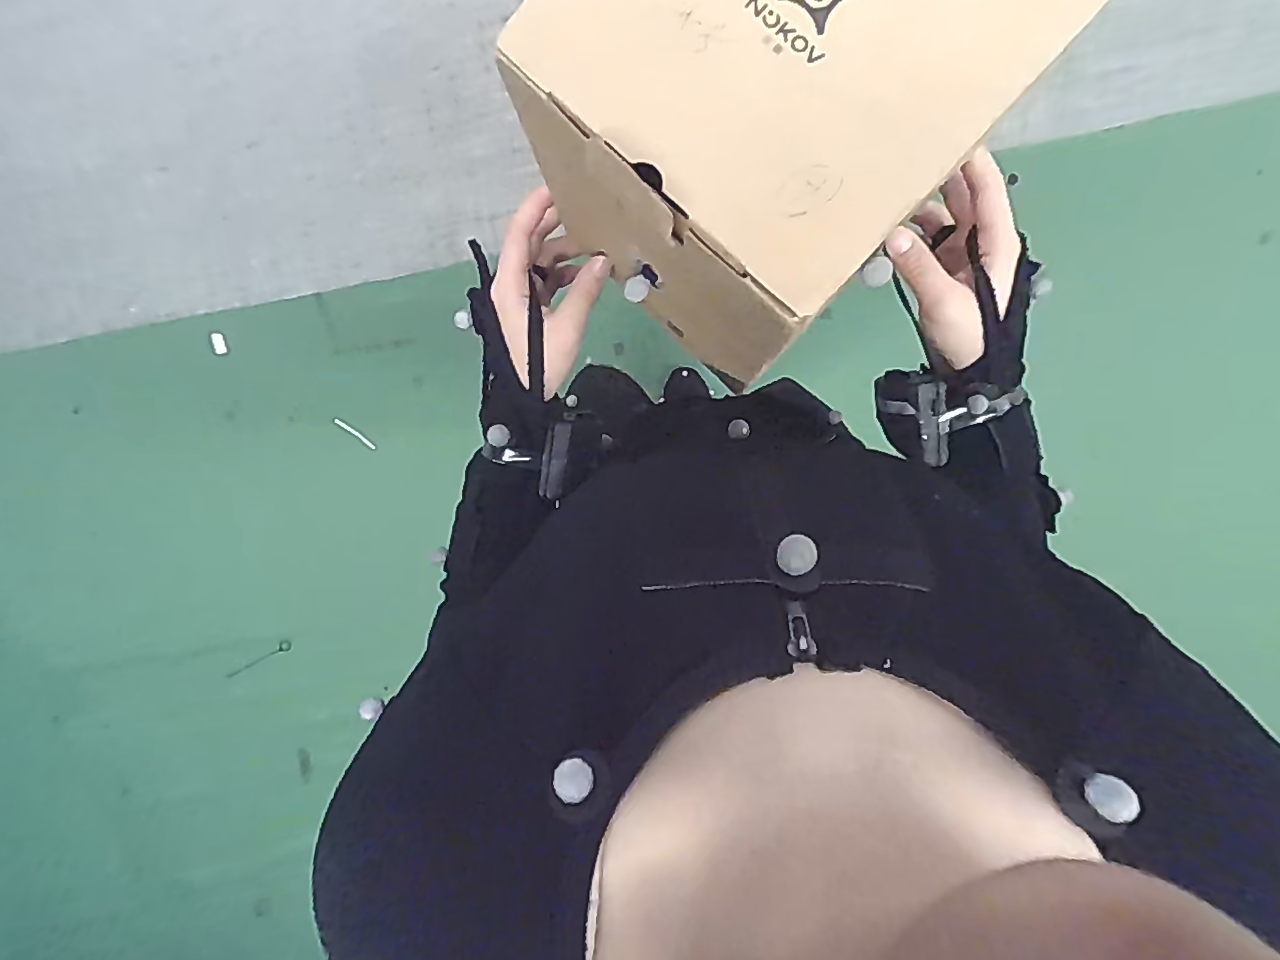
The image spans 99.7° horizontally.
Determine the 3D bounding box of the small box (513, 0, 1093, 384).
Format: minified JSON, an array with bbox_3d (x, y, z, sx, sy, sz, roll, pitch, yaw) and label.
[{"bbox_3d":[0.067,-0.176,0.298,0.168,0.176,0.179,43,92,2],"label":"small box"}]
